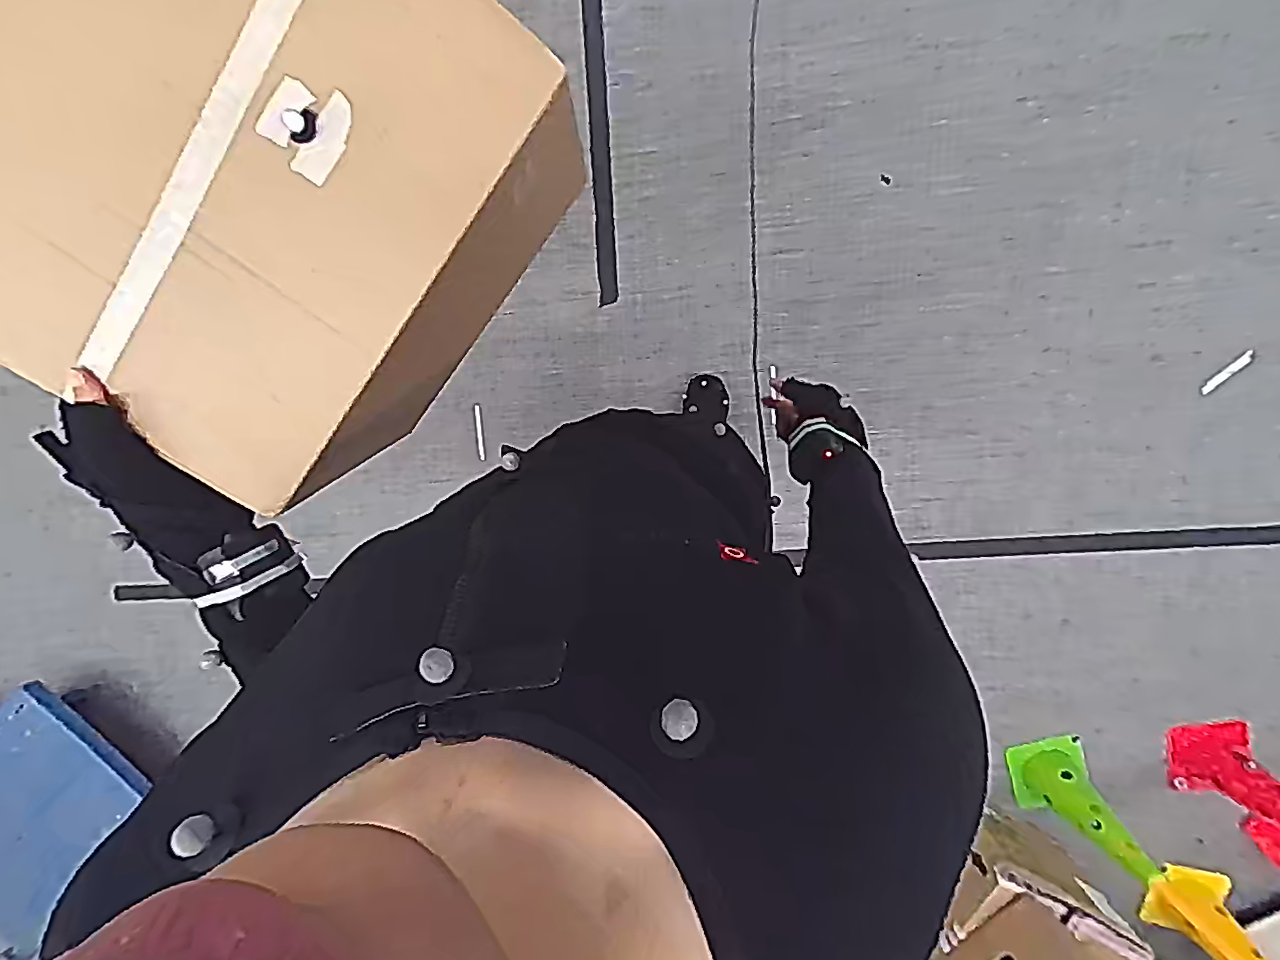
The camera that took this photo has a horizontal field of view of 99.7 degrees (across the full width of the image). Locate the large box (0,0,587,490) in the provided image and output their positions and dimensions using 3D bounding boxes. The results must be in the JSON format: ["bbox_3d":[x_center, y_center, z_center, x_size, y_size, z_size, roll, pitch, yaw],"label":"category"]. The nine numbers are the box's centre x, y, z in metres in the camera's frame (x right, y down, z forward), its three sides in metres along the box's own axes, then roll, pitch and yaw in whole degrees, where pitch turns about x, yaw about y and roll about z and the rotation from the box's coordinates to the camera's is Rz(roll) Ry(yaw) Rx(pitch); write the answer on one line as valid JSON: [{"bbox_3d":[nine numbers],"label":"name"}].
[{"bbox_3d":[-0.294,-0.267,0.519,0.320,0.320,0.408,36,101,-13],"label":"large box"}]
